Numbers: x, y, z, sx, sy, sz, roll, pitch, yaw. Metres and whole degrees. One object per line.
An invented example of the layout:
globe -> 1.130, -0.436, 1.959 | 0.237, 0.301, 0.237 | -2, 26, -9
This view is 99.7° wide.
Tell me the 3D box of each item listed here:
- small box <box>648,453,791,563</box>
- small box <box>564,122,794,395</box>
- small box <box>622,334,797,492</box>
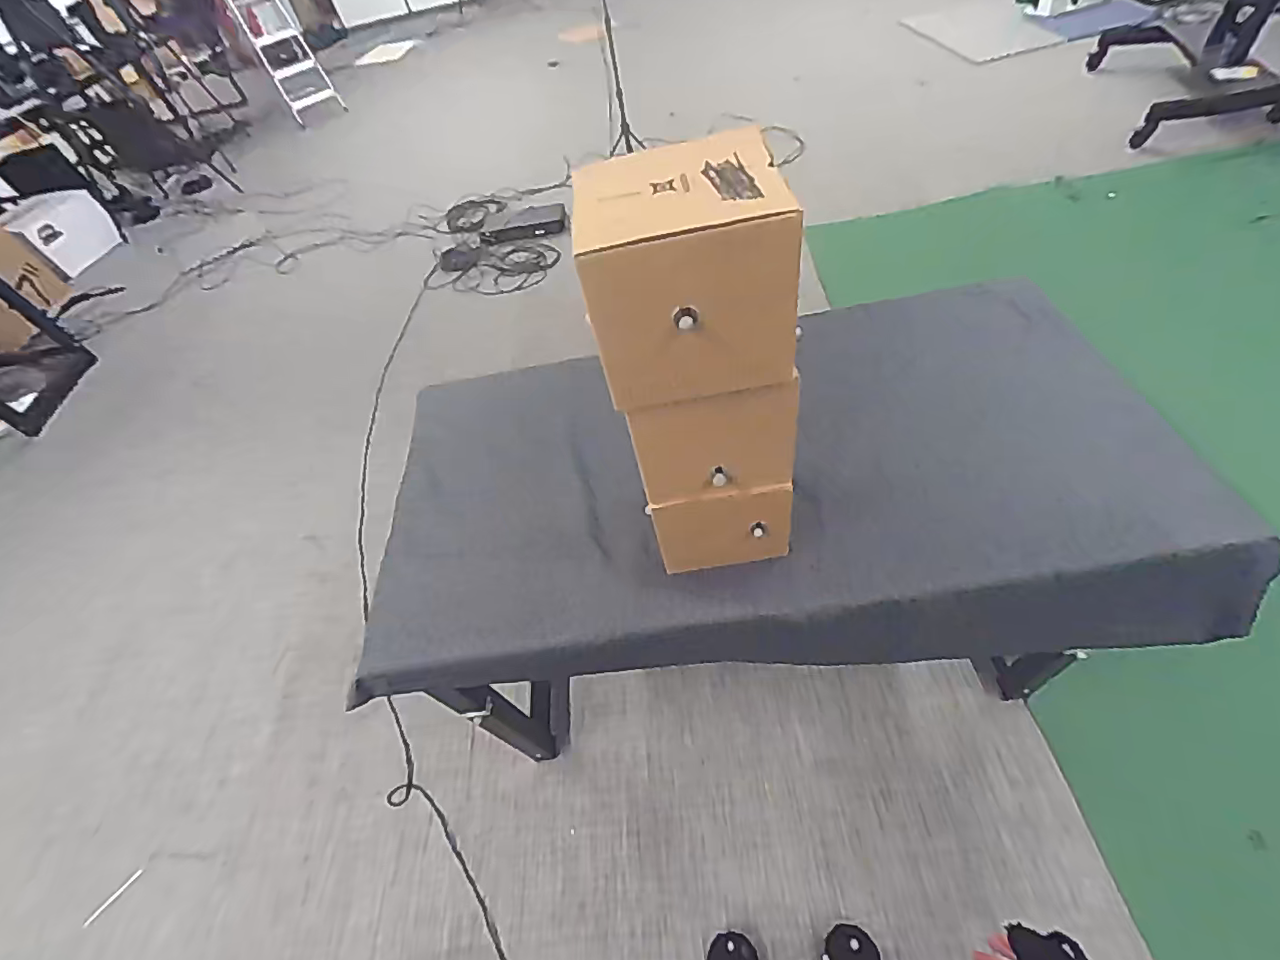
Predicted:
small box -> 0.105, -0.001, 0.767 | 0.179, 0.176, 0.168 | -11, 51, 6
small box -> 0.039, -0.202, 0.513 | 0.179, 0.176, 0.168 | -7, 50, 7
small box -> 0.075, -0.105, 0.644 | 0.179, 0.176, 0.168 | -9, 51, 5
